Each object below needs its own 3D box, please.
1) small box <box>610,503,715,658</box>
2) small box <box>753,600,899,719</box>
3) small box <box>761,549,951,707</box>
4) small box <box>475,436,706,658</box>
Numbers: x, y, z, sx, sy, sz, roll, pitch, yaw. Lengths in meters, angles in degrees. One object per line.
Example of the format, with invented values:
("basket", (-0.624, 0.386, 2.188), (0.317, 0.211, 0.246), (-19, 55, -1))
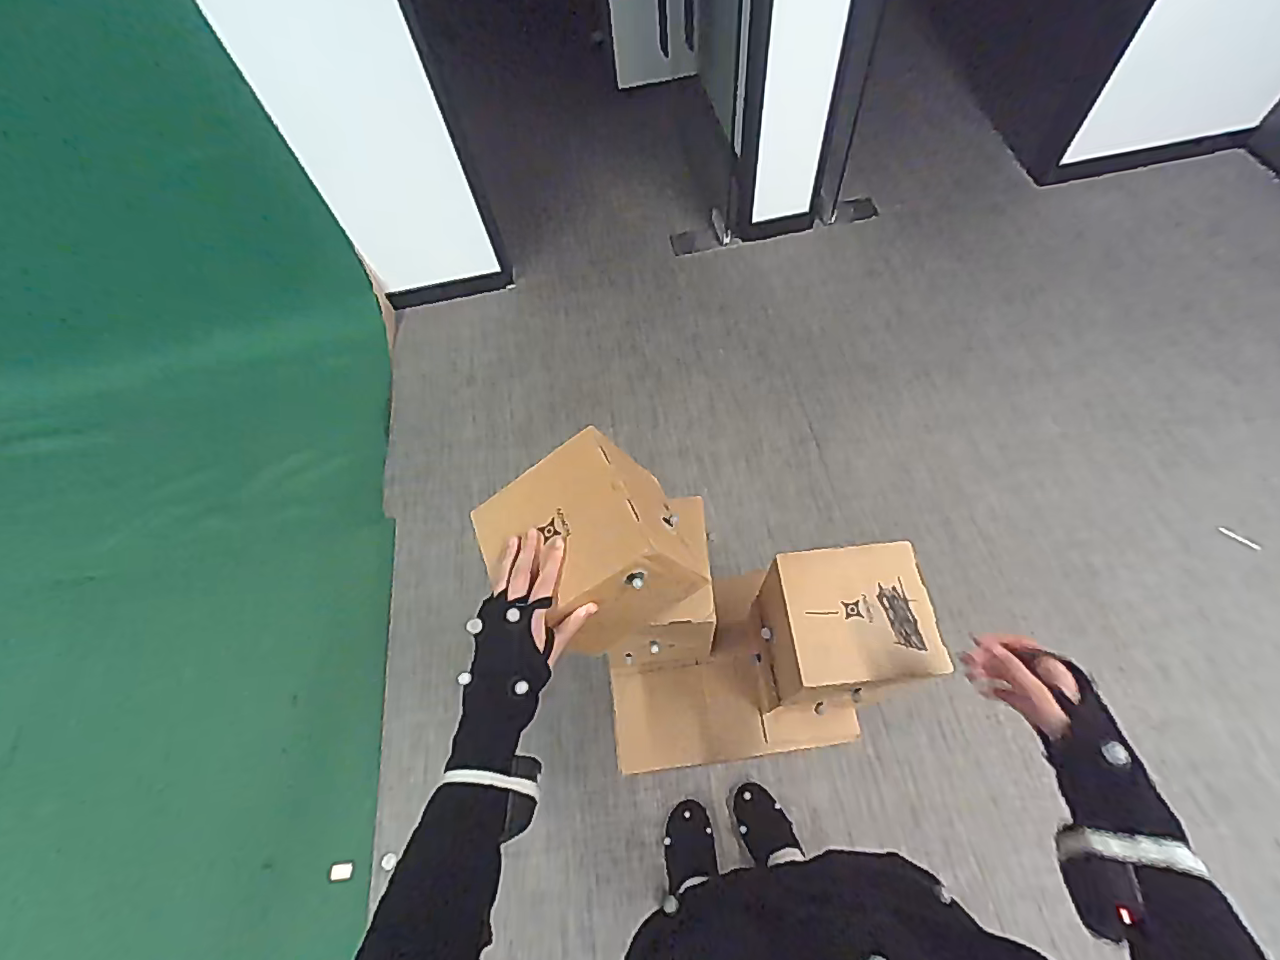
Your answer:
("small box", (0.017, 0.151, 0.787), (0.168, 0.176, 0.179), (-5, 62, 4))
("small box", (0.282, 0.285, 0.868), (0.179, 0.176, 0.168), (-7, 63, 3))
("small box", (0.272, 0.205, 0.726), (0.179, 0.176, 0.168), (-6, 61, 2))
("small box", (-0.053, 0.088, 0.623), (0.179, 0.176, 0.168), (-35, 57, 10))
